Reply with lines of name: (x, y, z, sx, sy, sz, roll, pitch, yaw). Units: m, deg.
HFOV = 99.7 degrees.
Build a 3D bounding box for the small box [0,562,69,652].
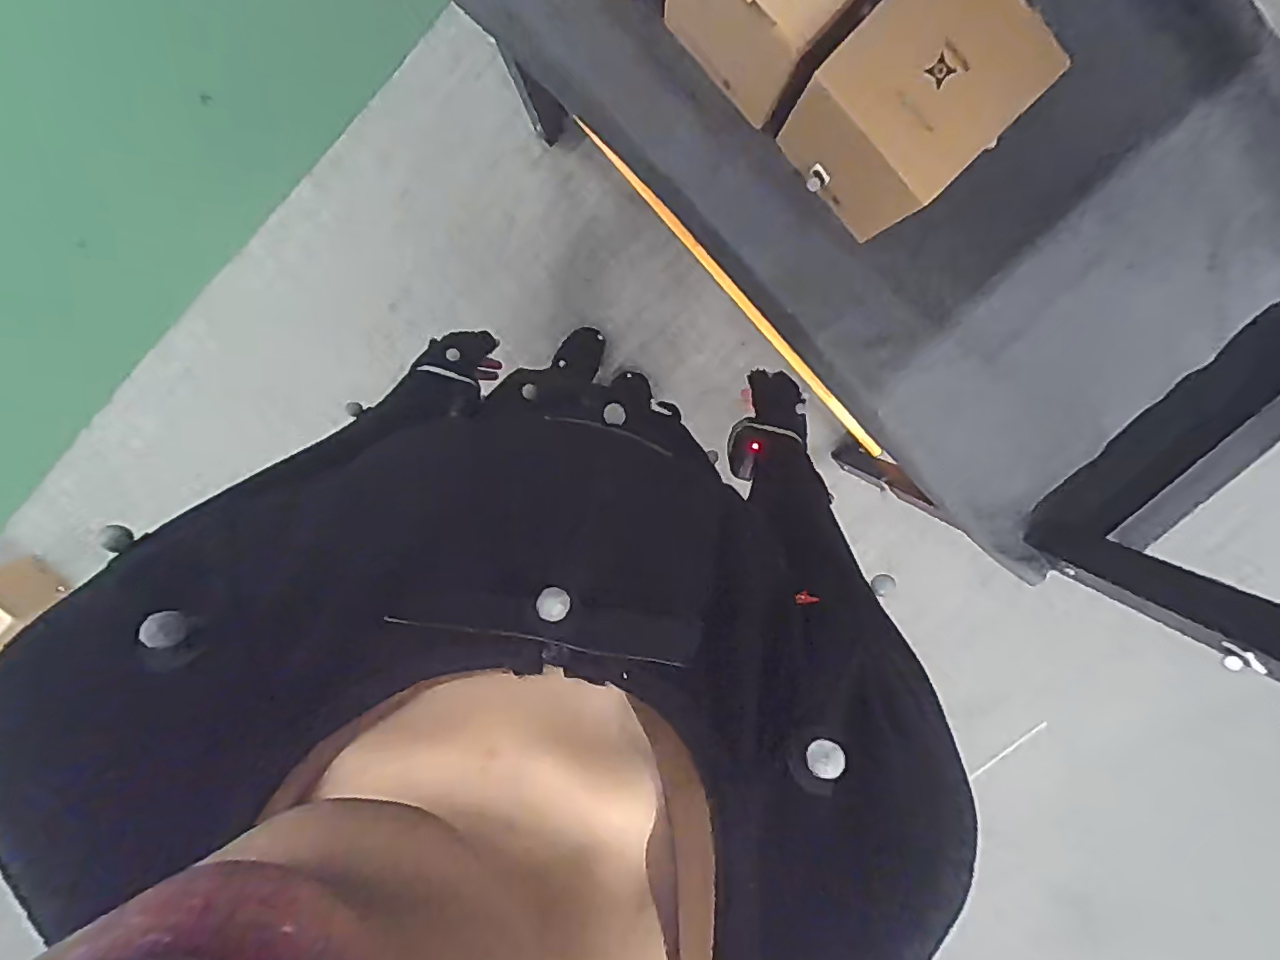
small box: (-1.734, 0.352, 1.470, 0.179, 0.176, 0.168, -41, 99, 8)
